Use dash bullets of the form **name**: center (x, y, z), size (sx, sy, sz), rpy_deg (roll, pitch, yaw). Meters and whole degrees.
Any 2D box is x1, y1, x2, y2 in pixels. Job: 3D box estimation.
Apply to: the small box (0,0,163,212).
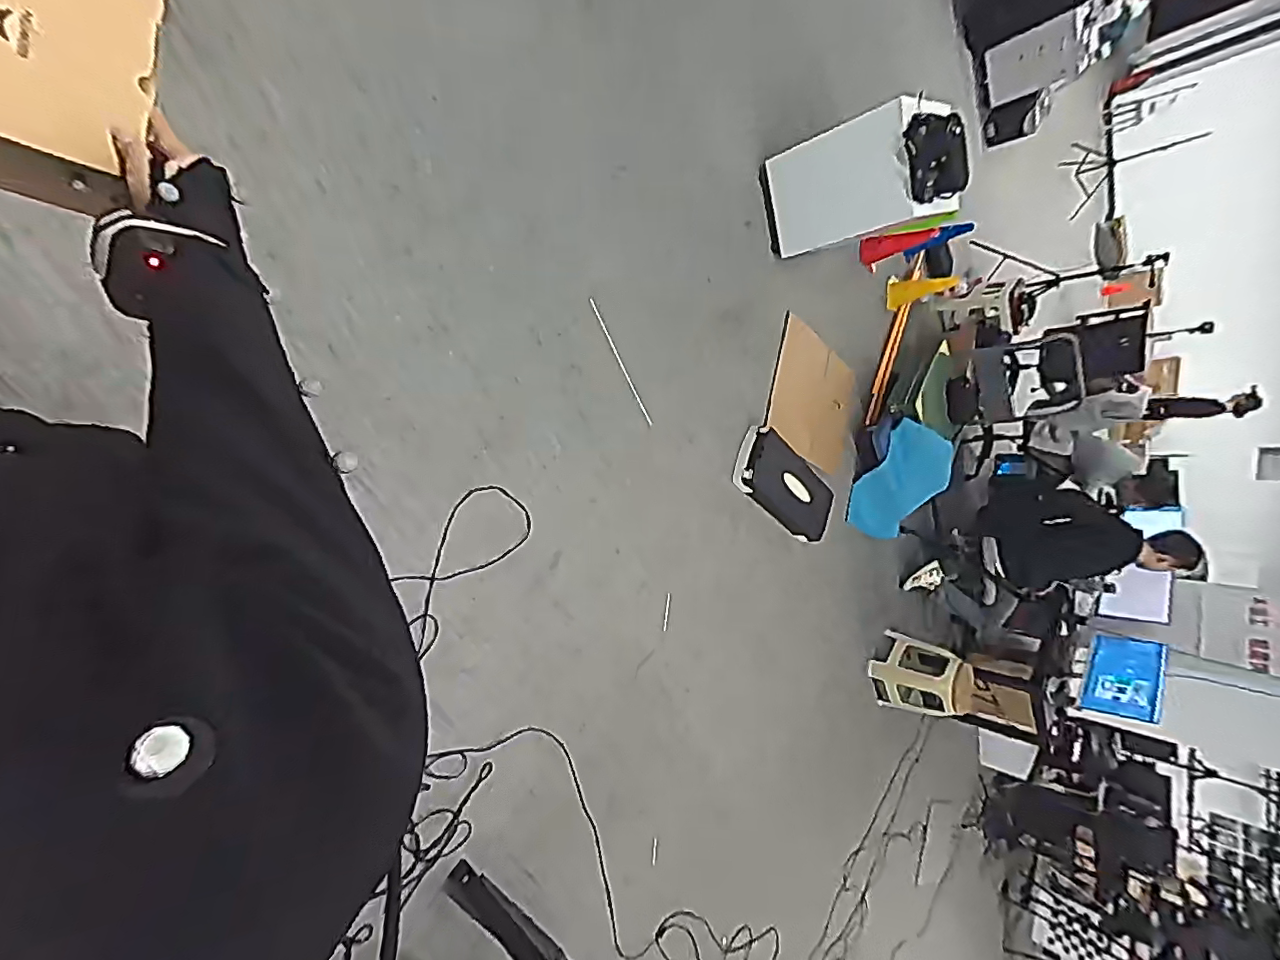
- **small box**: center (-0.524, -0.351, 0.450), size (0.179, 0.176, 0.168), rpy_deg (6, 92, -44)
